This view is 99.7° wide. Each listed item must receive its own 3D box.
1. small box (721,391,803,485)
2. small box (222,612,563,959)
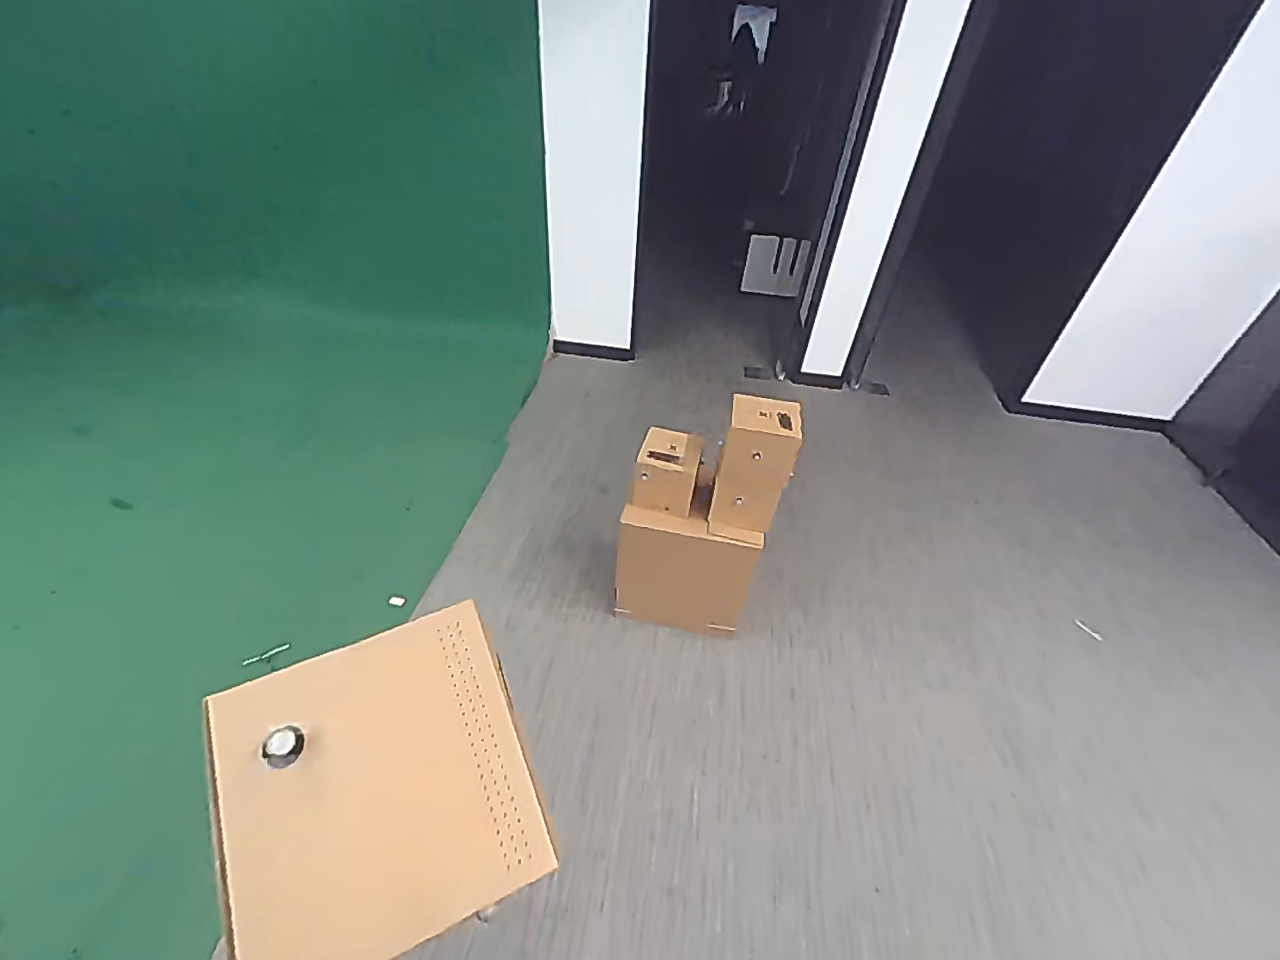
[{"bbox_3d":[0.318,-0.107,1.417,0.179,0.176,0.168,10,42,7],"label":"small box"},{"bbox_3d":[-0.166,0.214,0.402,0.176,0.168,0.179,-19,67,-17],"label":"small box"}]
